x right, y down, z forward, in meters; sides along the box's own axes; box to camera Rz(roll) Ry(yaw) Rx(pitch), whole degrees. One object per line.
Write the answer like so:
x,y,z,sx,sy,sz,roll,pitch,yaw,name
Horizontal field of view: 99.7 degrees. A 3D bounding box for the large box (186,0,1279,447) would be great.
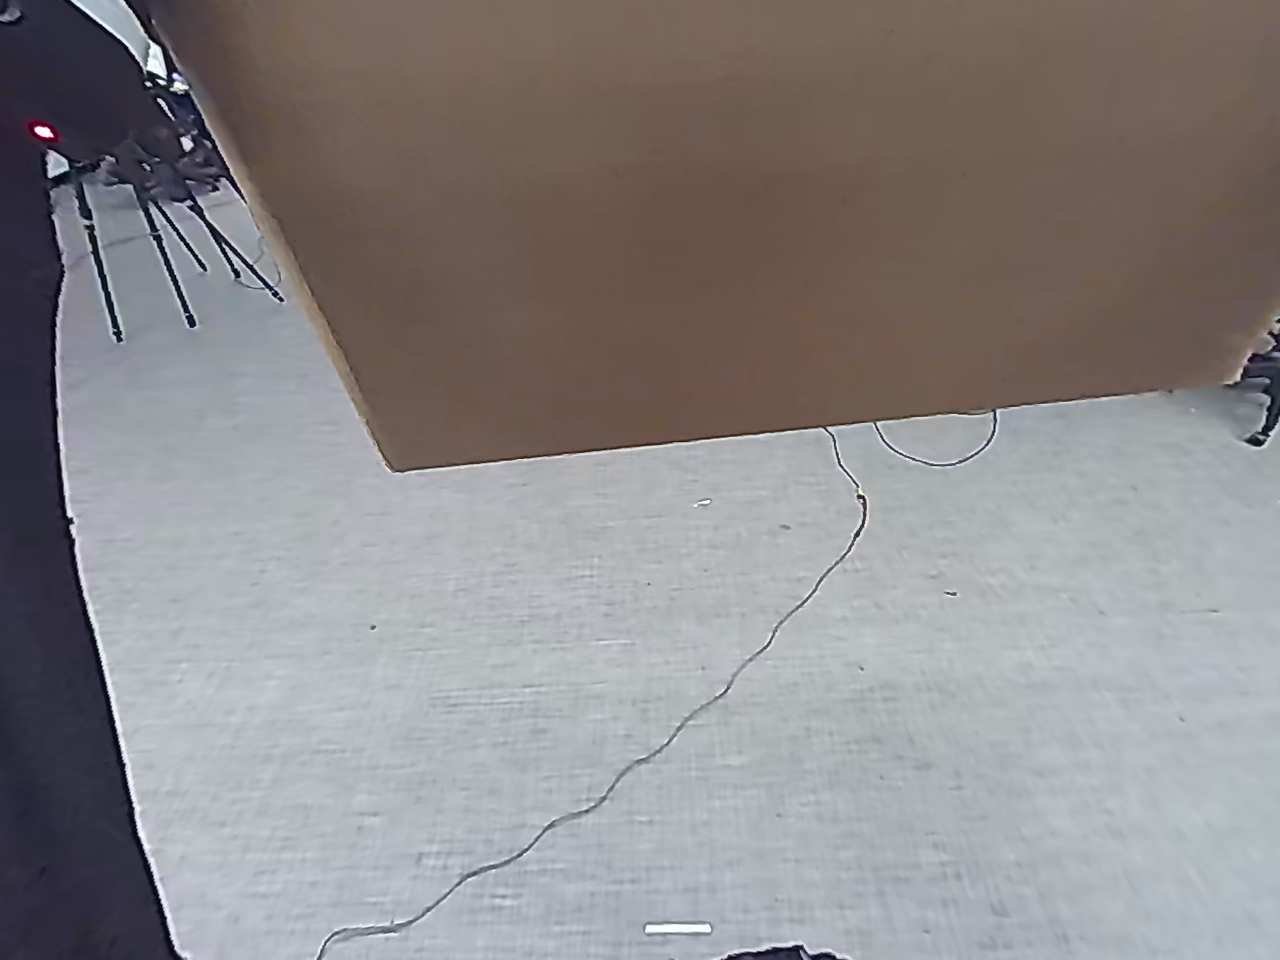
0.053,-0.242,0.278,0.408,0.320,0.320,-6,41,0,large box
